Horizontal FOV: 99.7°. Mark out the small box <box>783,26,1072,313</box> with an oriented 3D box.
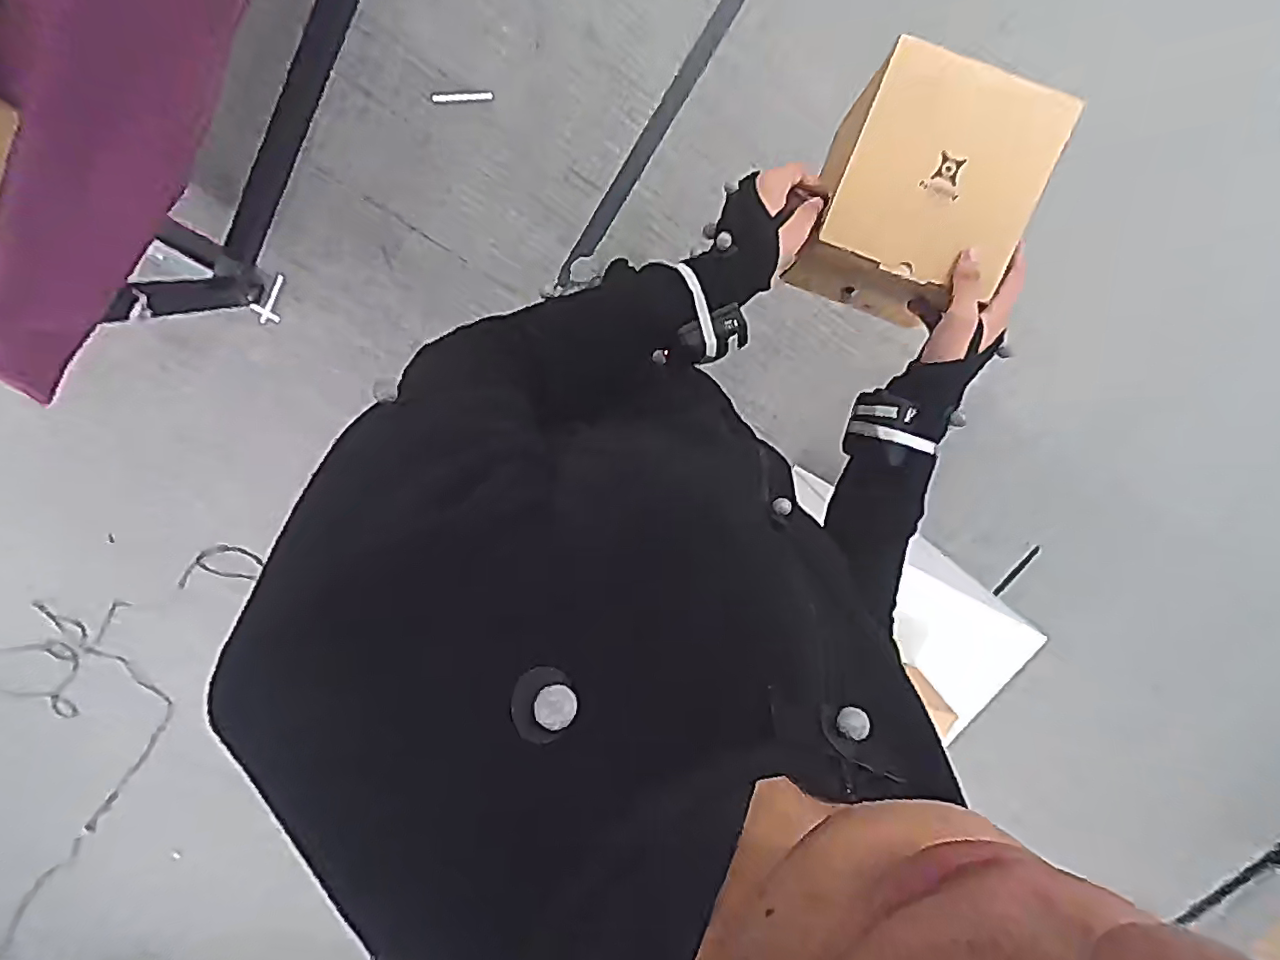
[{"bbox_3d":[0.261,-0.284,0.543,0.168,0.176,0.179,19,101,-2],"label":"small box"}]
